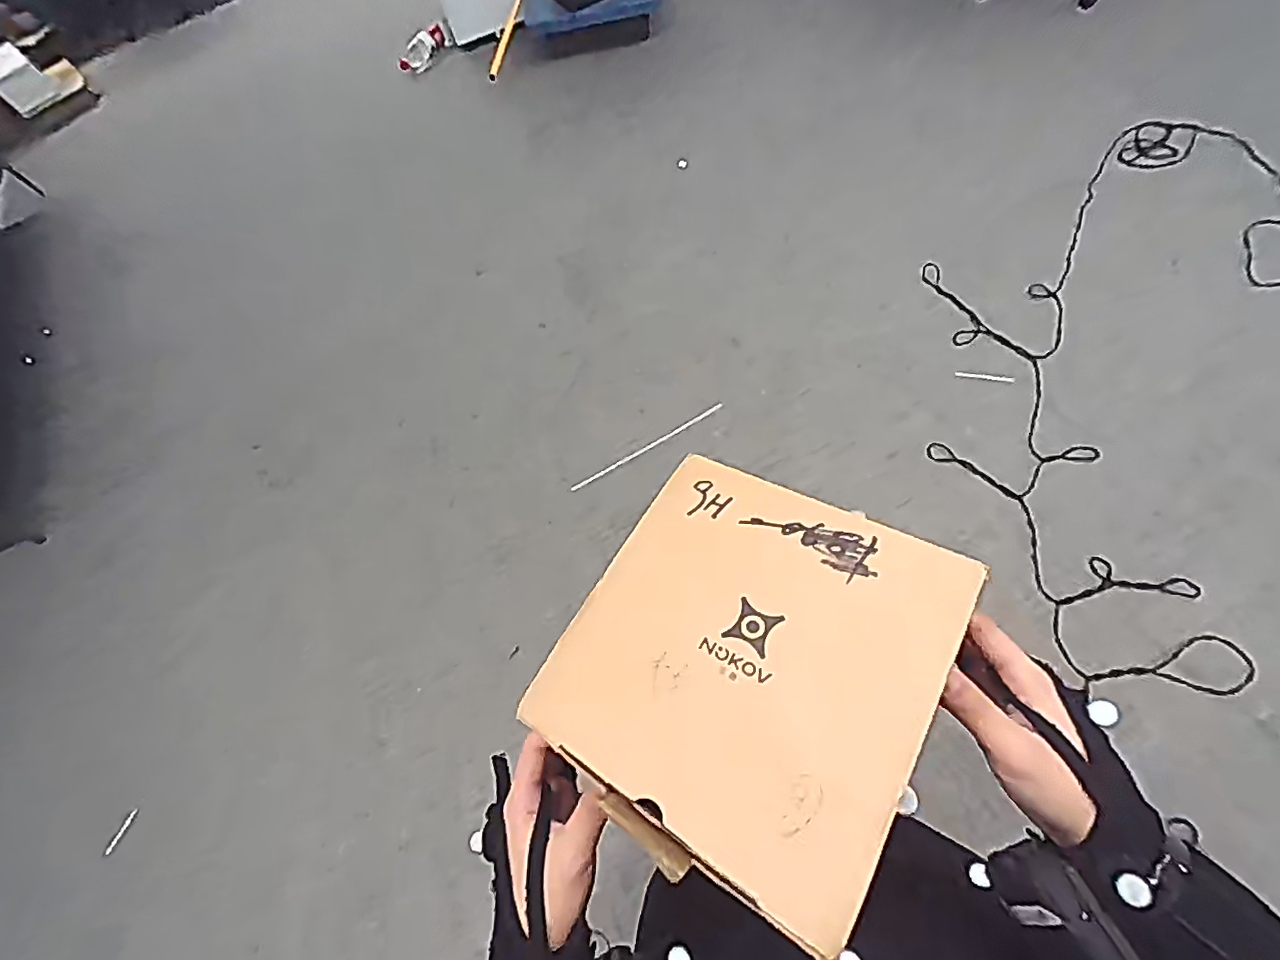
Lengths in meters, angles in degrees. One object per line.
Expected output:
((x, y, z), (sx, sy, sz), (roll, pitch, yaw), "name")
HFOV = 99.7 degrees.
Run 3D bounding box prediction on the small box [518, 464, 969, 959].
((0.067, 0.126, 0.329), (0.168, 0.176, 0.179), (24, 67, 29), "small box")
